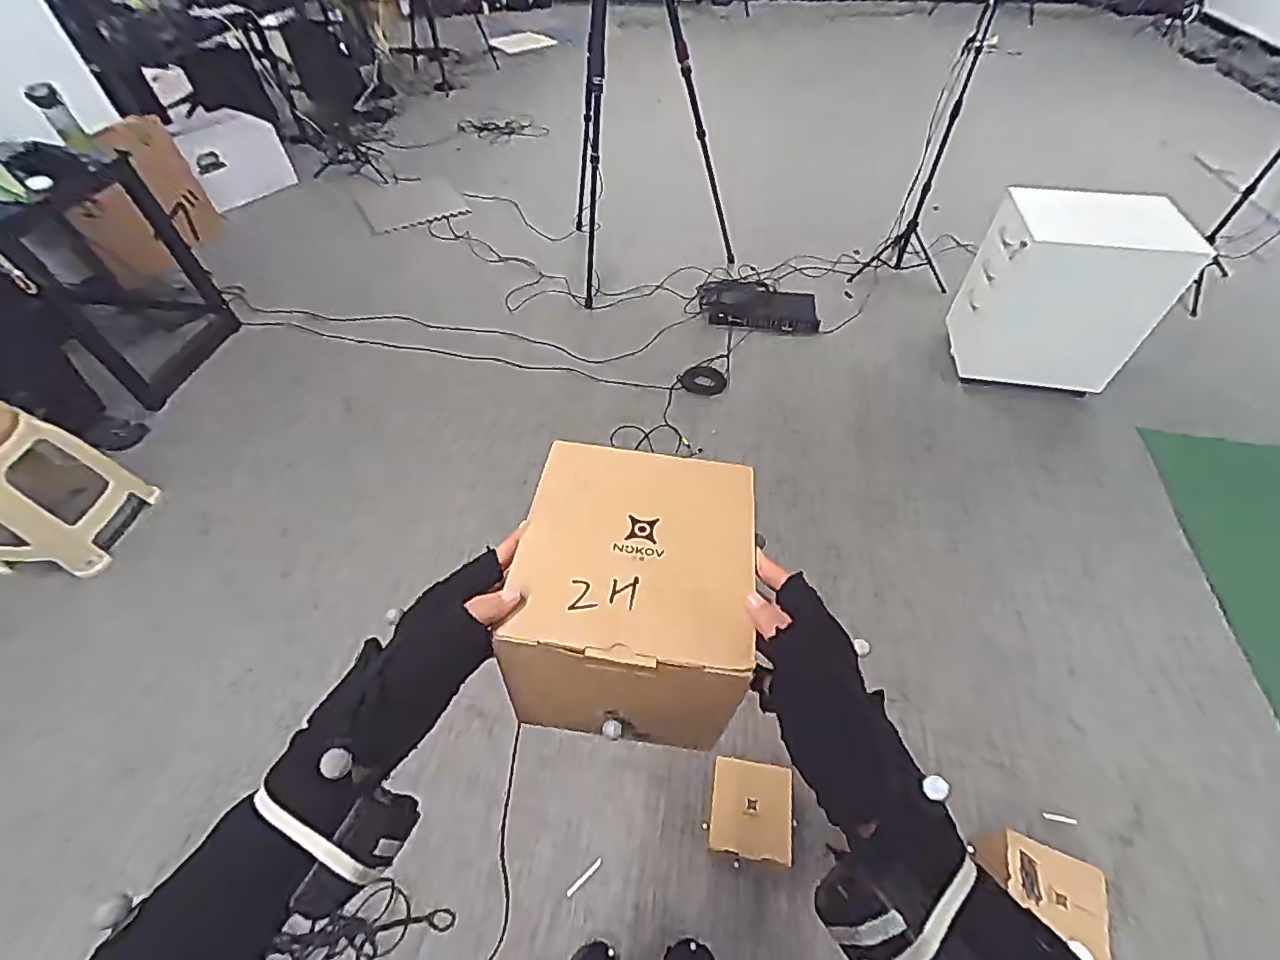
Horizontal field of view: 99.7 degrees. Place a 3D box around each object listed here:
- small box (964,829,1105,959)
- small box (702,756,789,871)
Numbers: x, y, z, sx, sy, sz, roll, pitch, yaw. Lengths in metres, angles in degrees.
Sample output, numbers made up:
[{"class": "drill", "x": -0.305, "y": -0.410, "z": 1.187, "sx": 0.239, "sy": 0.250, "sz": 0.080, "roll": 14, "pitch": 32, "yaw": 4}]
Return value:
[{"class": "small box", "x": 0.781, "y": 0.841, "z": 1.089, "sx": 0.179, "sy": 0.176, "sz": 0.168, "roll": 19, "pitch": 54, "yaw": 15}, {"class": "small box", "x": 0.230, "y": 0.735, "z": 1.189, "sx": 0.168, "sy": 0.176, "sz": 0.179, "roll": 7, "pitch": 51, "yaw": 7}]
